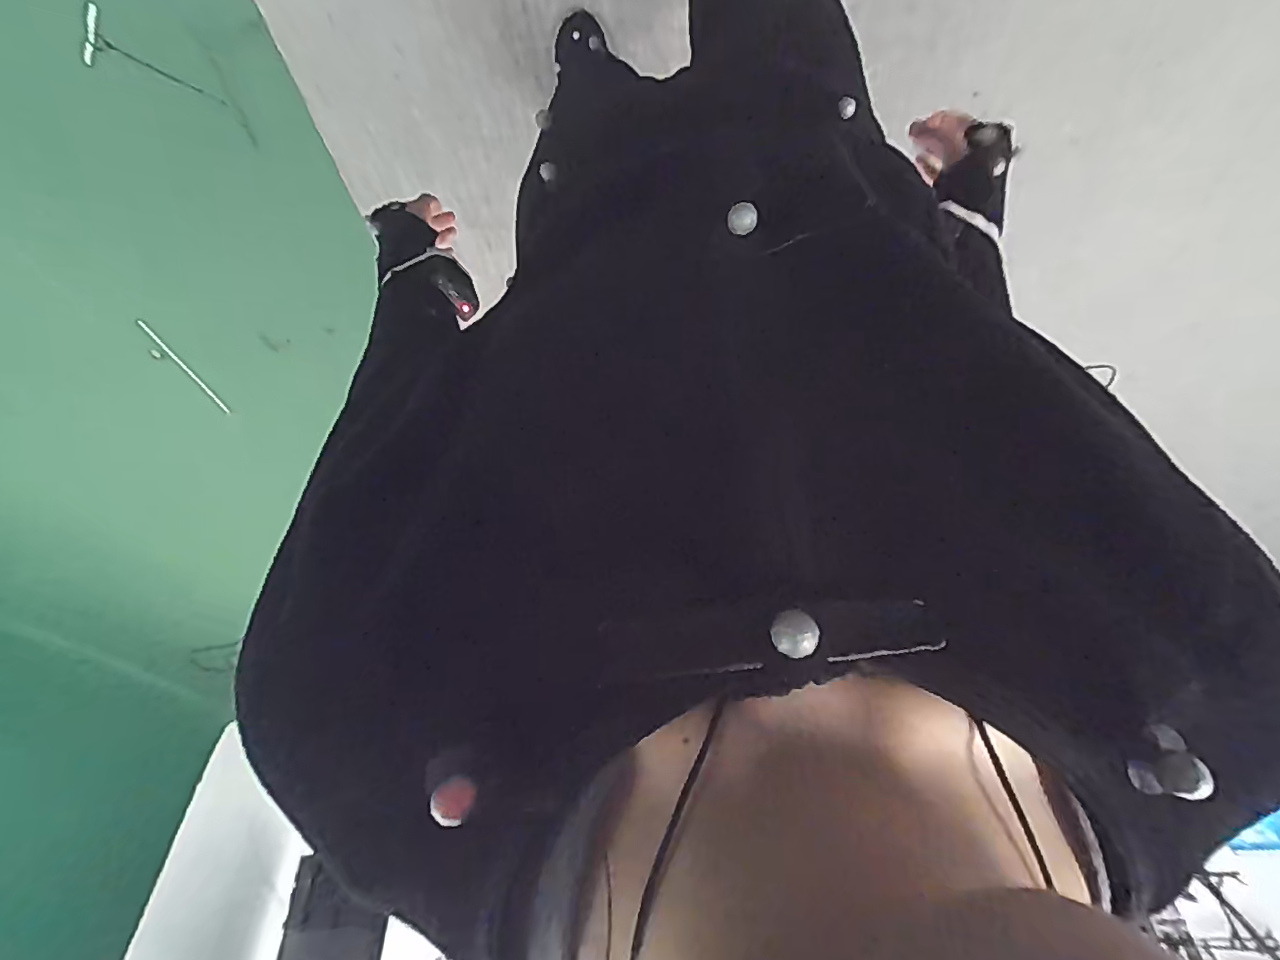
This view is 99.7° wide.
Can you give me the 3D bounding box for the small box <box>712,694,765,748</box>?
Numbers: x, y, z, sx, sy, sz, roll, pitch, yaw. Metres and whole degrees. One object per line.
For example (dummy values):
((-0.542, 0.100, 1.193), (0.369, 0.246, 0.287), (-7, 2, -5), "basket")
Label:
((0.378, 0.939, 2.096), (0.179, 0.176, 0.168), (-6, 142, 5), "small box")
